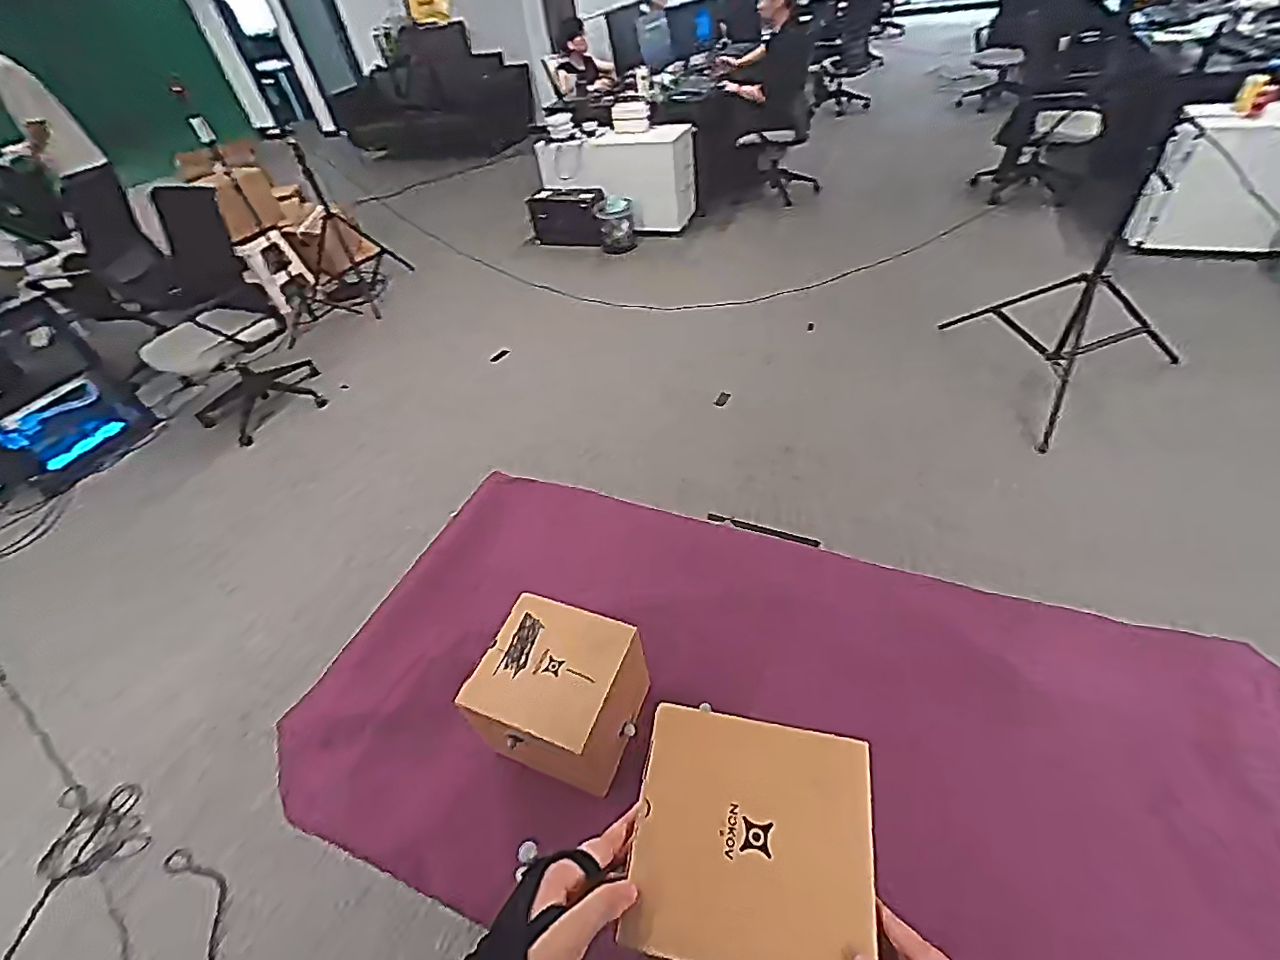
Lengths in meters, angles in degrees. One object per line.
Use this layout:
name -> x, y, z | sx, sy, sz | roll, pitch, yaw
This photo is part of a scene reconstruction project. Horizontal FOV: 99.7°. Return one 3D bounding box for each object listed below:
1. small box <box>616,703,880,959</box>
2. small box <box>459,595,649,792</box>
small box -> 0.093, 0.315, 0.465 | 0.179, 0.176, 0.168 | 6, 52, 13
small box -> -0.101, 0.287, 0.726 | 0.179, 0.176, 0.168 | 12, 48, 20
